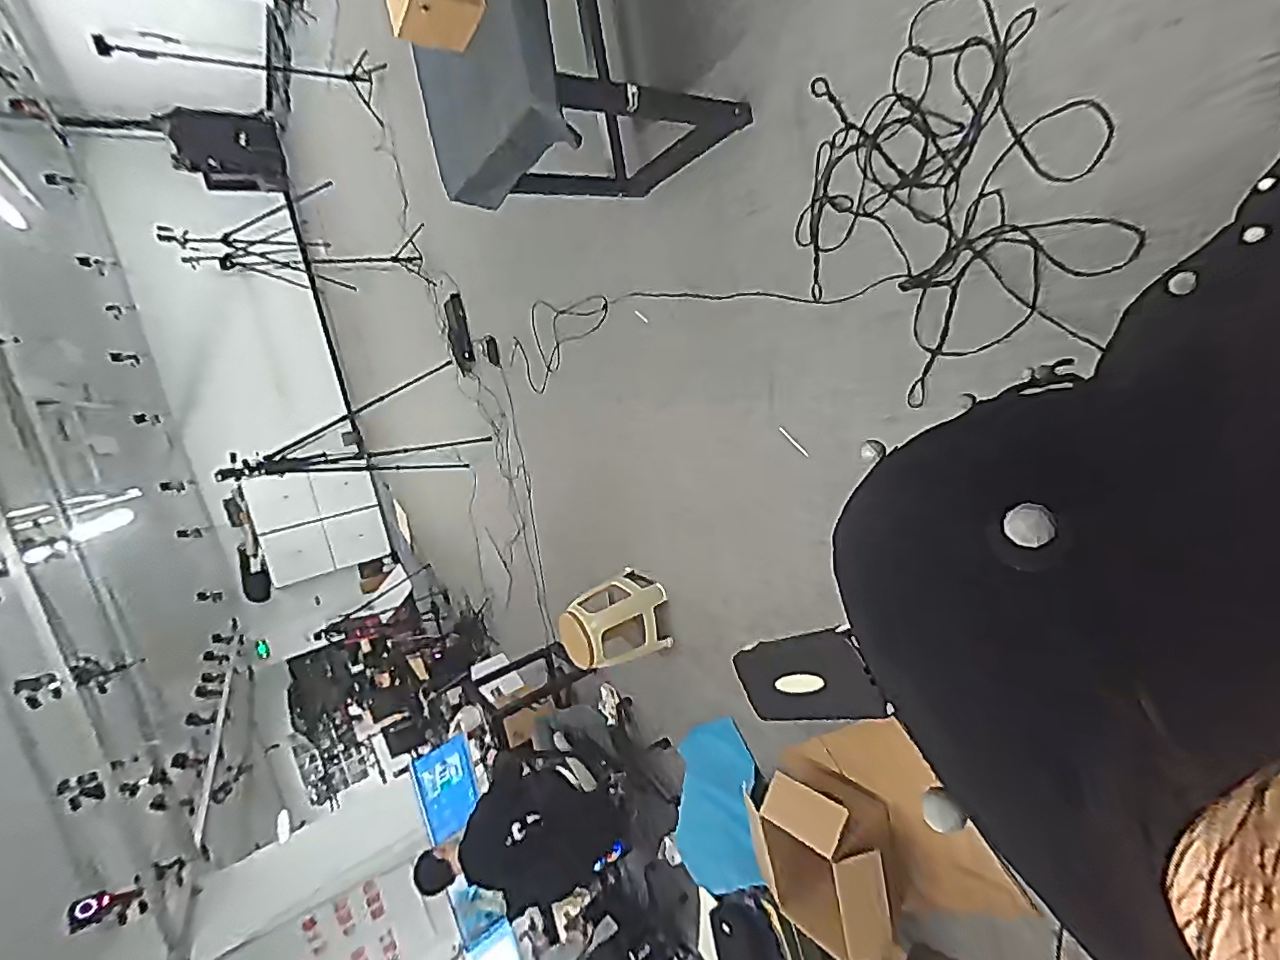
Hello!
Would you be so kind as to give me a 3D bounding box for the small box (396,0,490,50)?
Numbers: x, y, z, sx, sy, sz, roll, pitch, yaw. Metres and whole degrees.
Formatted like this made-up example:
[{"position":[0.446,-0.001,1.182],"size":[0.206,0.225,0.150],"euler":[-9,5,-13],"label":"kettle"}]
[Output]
[{"position":[-0.464,-1.143,1.251],"size":[0.179,0.176,0.168],"euler":[4,108,55],"label":"small box"}]
